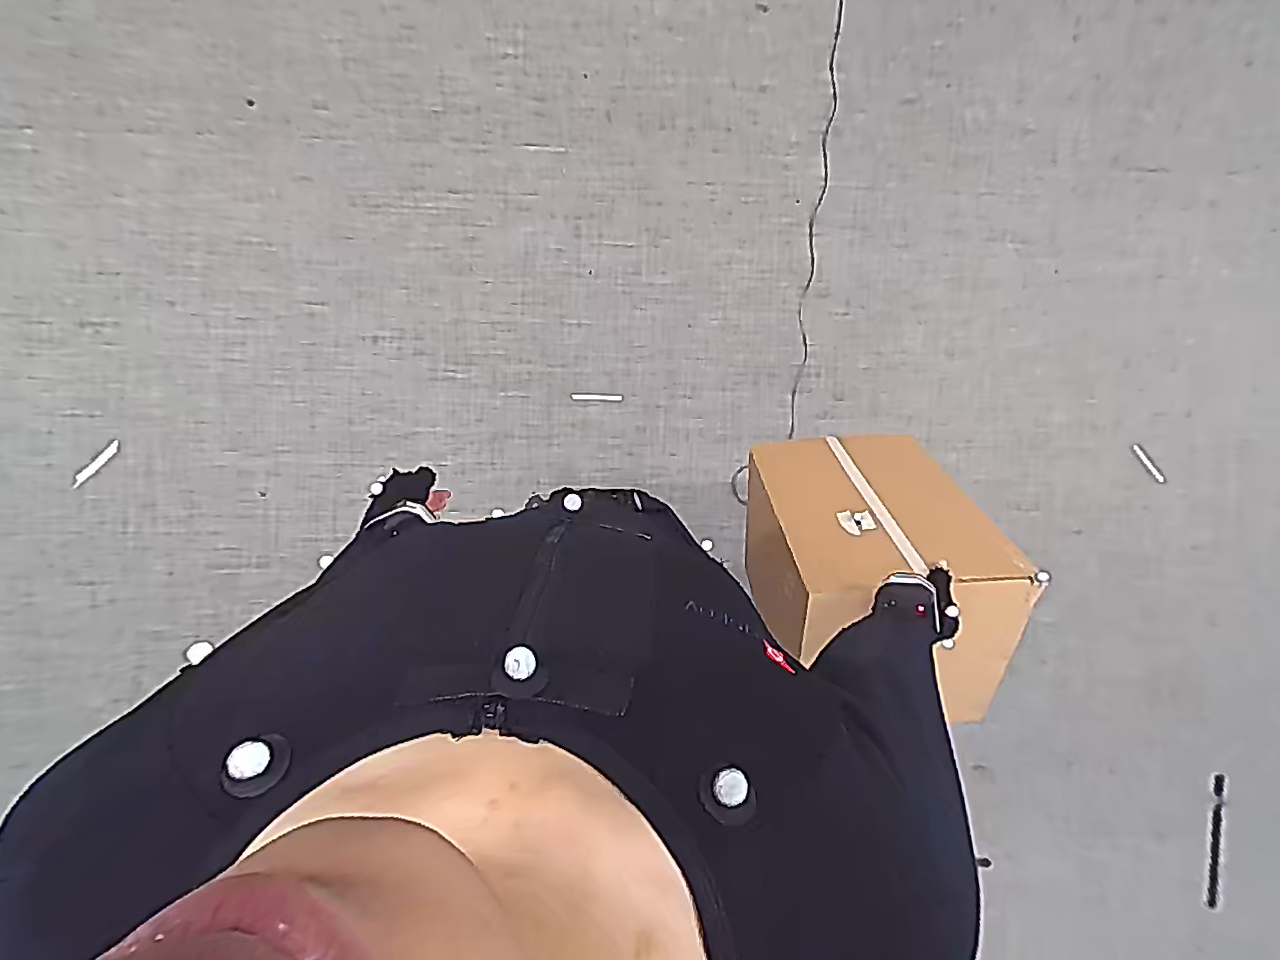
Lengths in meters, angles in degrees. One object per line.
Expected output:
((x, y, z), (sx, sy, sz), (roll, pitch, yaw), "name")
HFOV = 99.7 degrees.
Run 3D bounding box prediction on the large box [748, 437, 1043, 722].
((0.392, 0.159, 0.972), (0.320, 0.408, 0.320), (-5, 124, 1), "large box")
